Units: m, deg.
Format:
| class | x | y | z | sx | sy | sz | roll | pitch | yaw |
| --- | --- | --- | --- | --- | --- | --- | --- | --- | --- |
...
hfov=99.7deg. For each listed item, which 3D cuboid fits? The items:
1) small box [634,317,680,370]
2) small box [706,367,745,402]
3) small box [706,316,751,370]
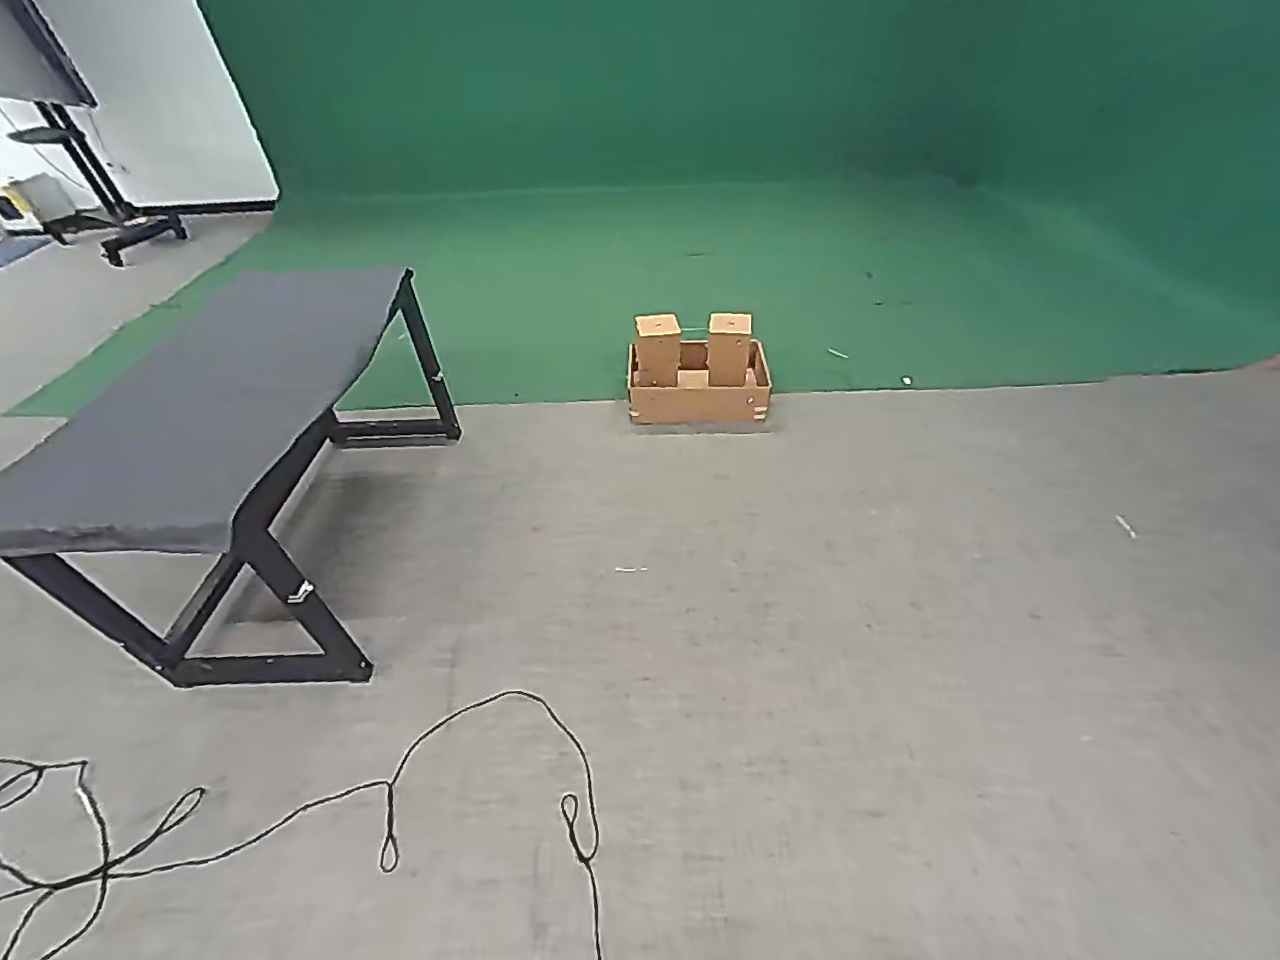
| class | x | y | z | sx | sy | sz | roll | pitch | yaw |
| --- | --- | --- | --- | --- | --- | --- | --- | --- | --- |
| small box | 0.072 | -0.594 | 2.362 | 0.179 | 0.176 | 0.168 | -5 | 46 | -6 |
| small box | 0.389 | -0.480 | 2.472 | 0.168 | 0.176 | 0.179 | 4 | 46 | 7 |
| small box | 0.384 | -0.594 | 2.353 | 0.179 | 0.176 | 0.168 | 4 | 44 | 8 |
